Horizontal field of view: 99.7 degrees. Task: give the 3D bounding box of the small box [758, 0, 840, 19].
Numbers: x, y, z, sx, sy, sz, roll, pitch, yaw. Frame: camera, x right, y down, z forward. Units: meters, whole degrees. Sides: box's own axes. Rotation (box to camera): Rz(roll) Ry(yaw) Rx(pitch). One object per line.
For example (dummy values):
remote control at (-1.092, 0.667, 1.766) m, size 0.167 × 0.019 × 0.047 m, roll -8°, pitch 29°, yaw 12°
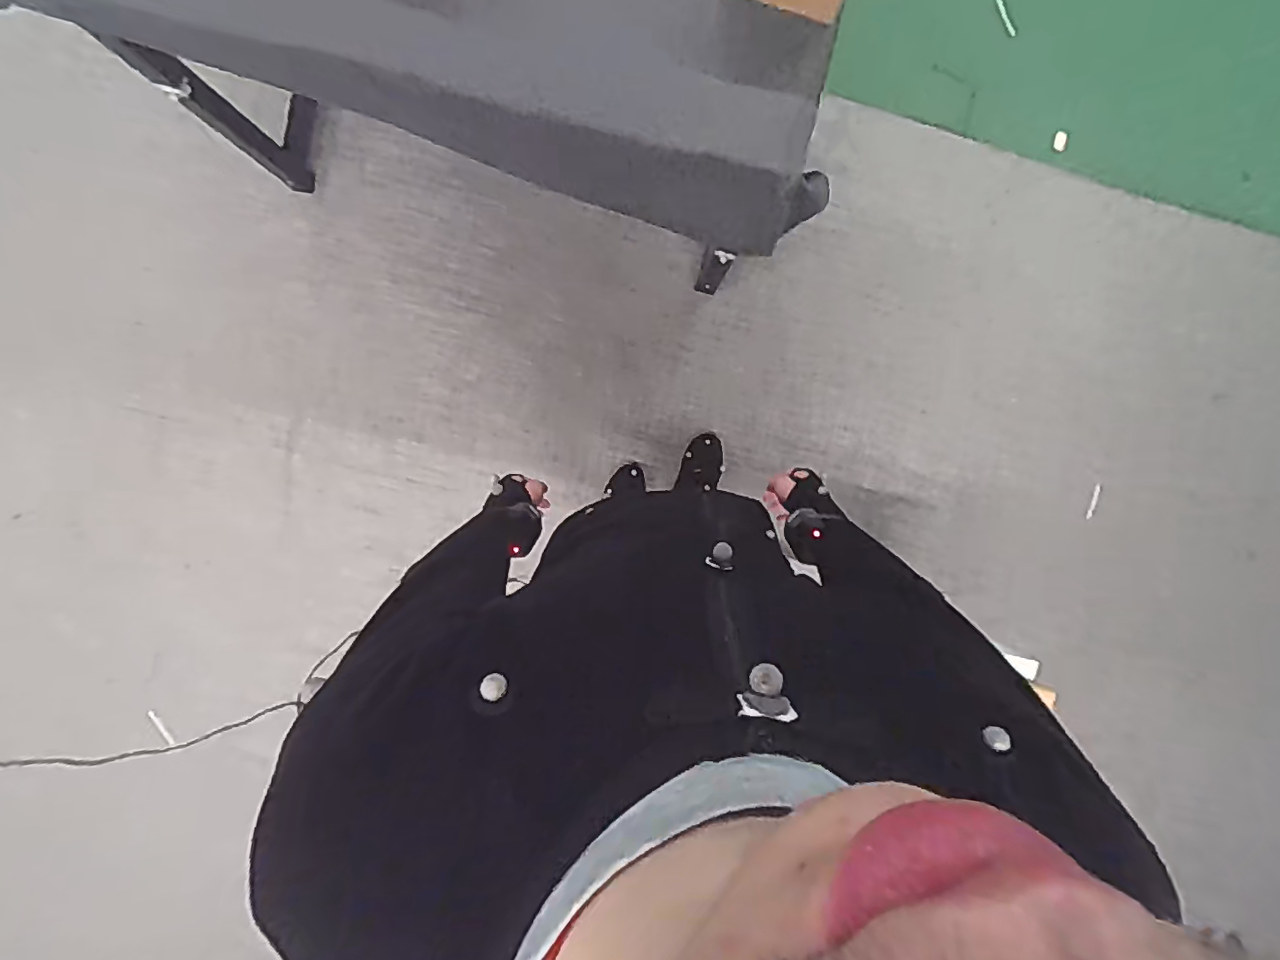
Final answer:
small box at (0.220, -0.754, 0.696) m, size 0.179 × 0.176 × 0.168 m, roll 16°, pitch 93°, yaw -2°
